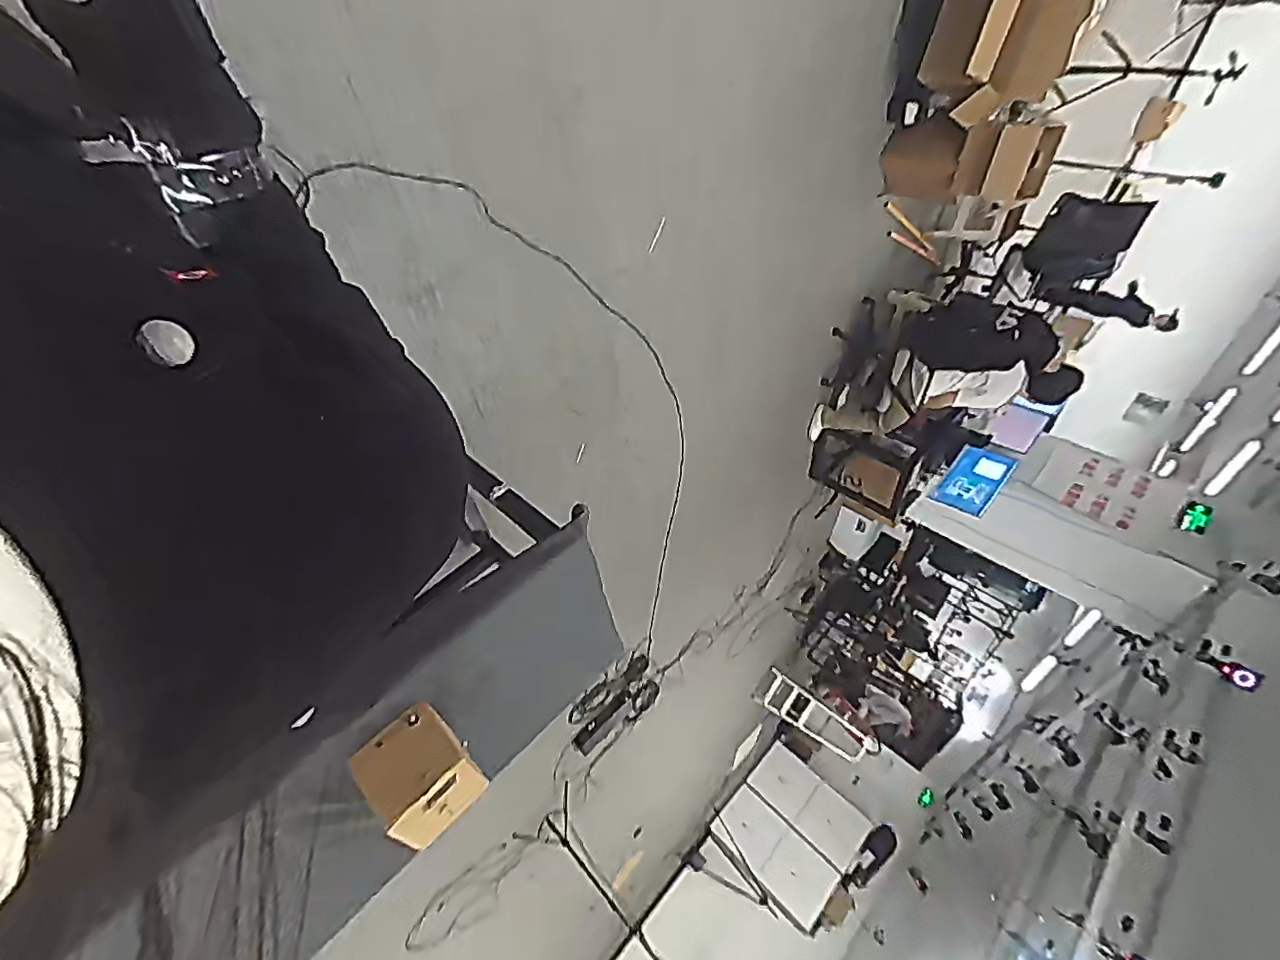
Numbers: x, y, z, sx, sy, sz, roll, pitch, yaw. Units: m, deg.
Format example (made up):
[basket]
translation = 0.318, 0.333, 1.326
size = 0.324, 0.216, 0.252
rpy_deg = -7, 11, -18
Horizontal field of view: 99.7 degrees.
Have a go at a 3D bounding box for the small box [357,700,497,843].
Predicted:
[small box]
translation = -0.424, 0.574, 1.079
size = 0.168, 0.176, 0.179
rpy_deg = -41, 142, -24
